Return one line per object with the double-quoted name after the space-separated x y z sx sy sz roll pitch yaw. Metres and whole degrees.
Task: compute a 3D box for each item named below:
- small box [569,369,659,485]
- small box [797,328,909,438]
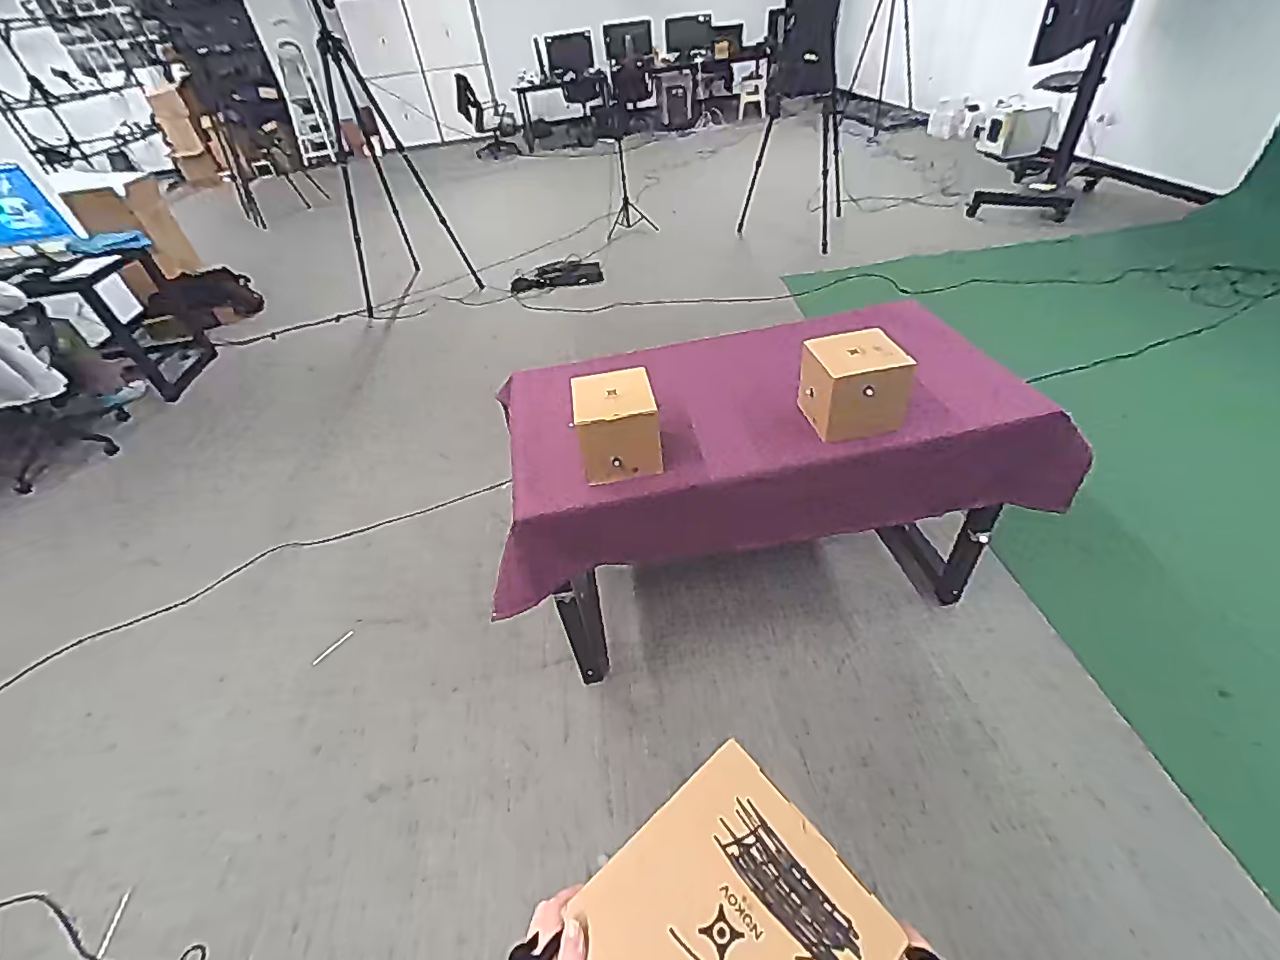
-0.057 -0.115 1.171 0.168 0.176 0.179 -10 42 -3 "small box"
0.456 -0.210 1.193 0.179 0.176 0.168 -10 42 -2 "small box"
